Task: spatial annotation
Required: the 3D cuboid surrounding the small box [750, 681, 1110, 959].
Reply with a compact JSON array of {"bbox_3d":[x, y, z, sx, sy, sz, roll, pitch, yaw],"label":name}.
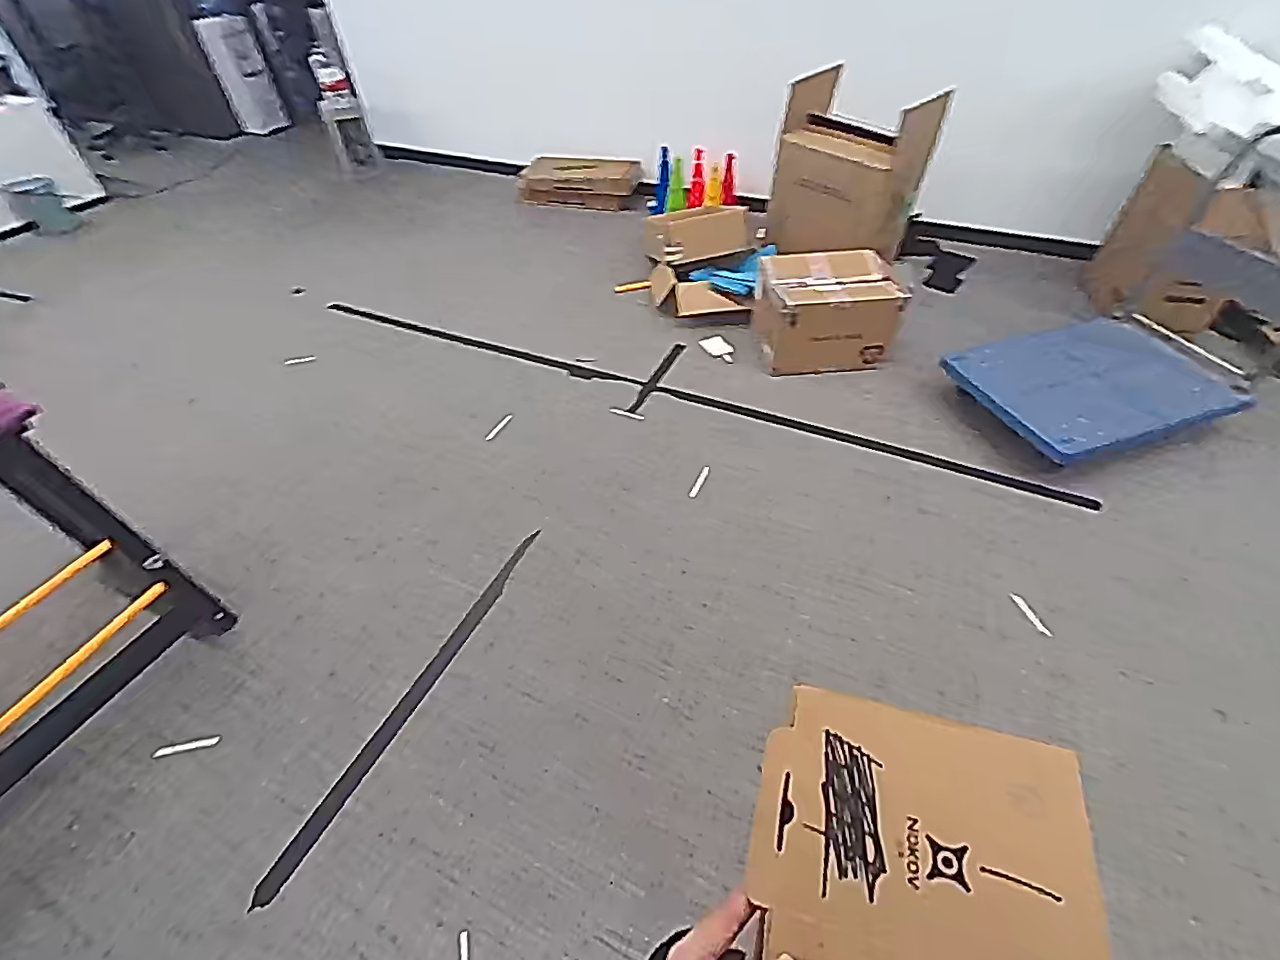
[{"bbox_3d":[0.177,0.267,0.378,0.179,0.176,0.168,9,53,14],"label":"small box"}]
